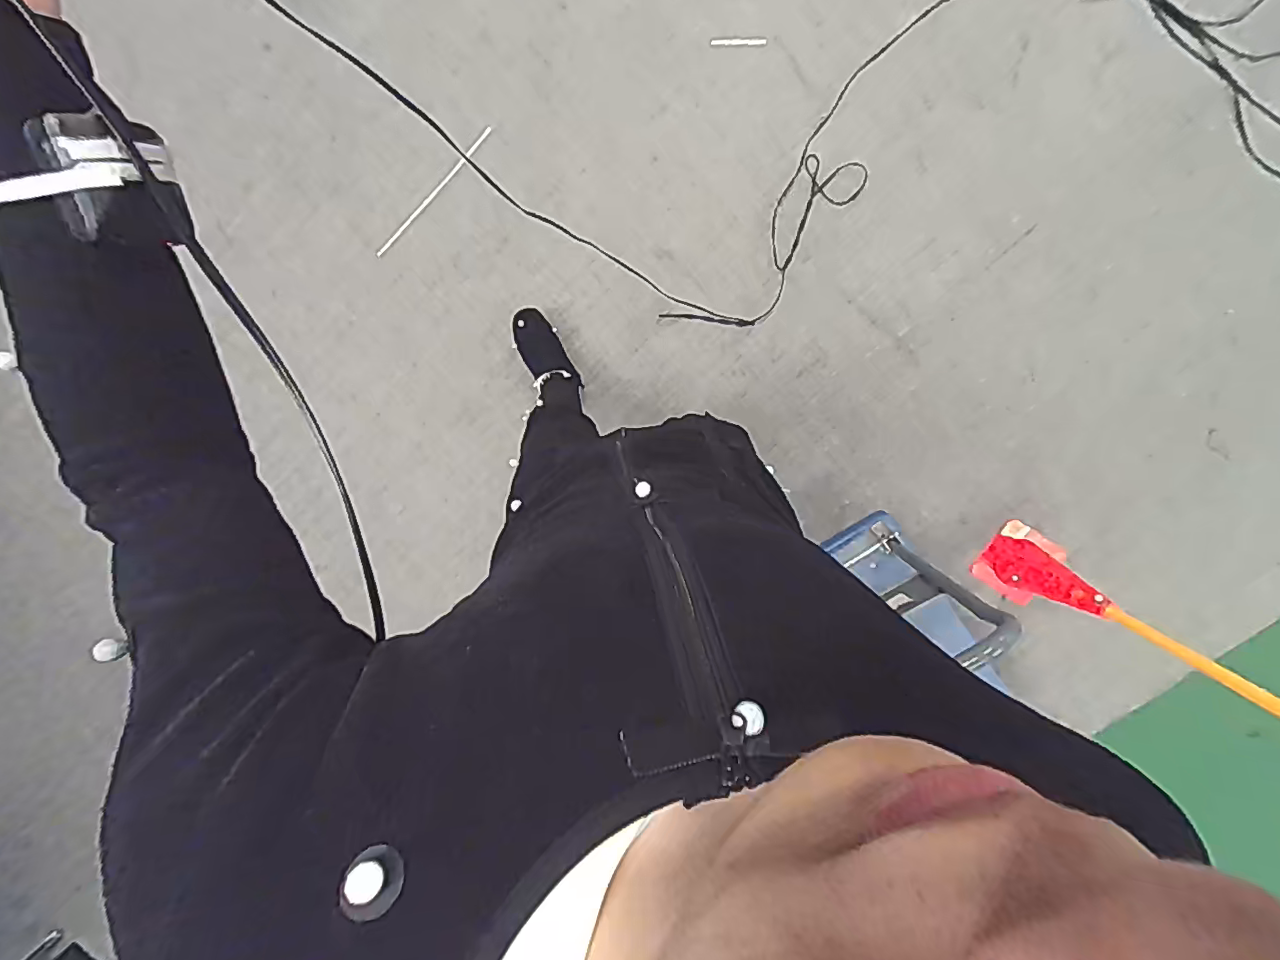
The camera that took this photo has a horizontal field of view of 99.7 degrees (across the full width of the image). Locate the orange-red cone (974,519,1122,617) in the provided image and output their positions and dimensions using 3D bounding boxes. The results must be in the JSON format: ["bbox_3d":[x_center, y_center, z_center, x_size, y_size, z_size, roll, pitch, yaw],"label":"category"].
[{"bbox_3d":[1.088,0.262,1.400,0.198,0.360,0.199,34,100,-3],"label":"orange-red cone"}]
